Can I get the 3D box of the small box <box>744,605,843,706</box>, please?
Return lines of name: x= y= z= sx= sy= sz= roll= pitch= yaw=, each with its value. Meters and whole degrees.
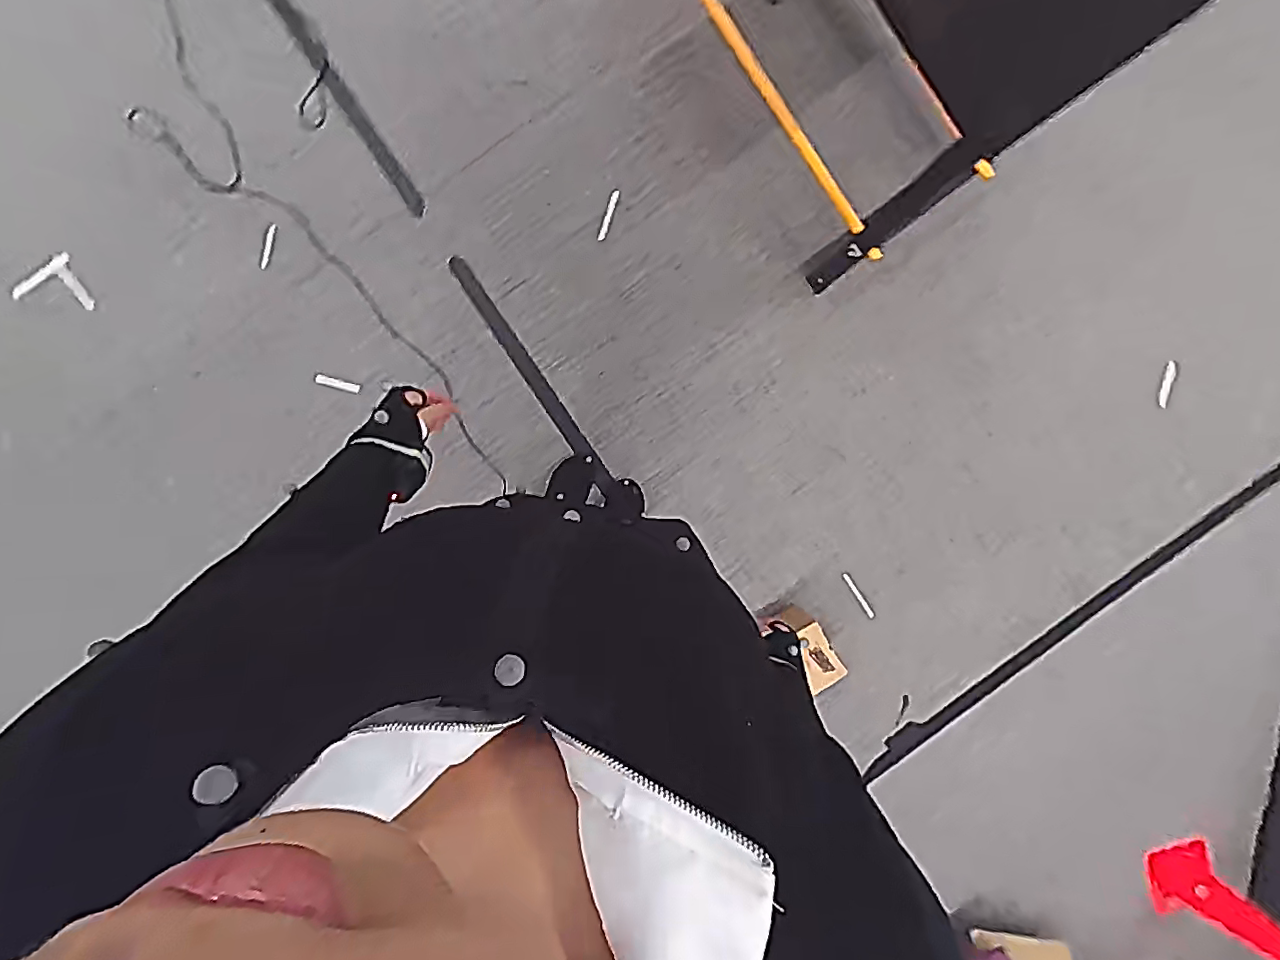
small box: x=0.406 y=0.464 z=1.463 sx=0.179 sy=0.176 sz=0.168 roll=-31 pitch=93 yaw=-1
